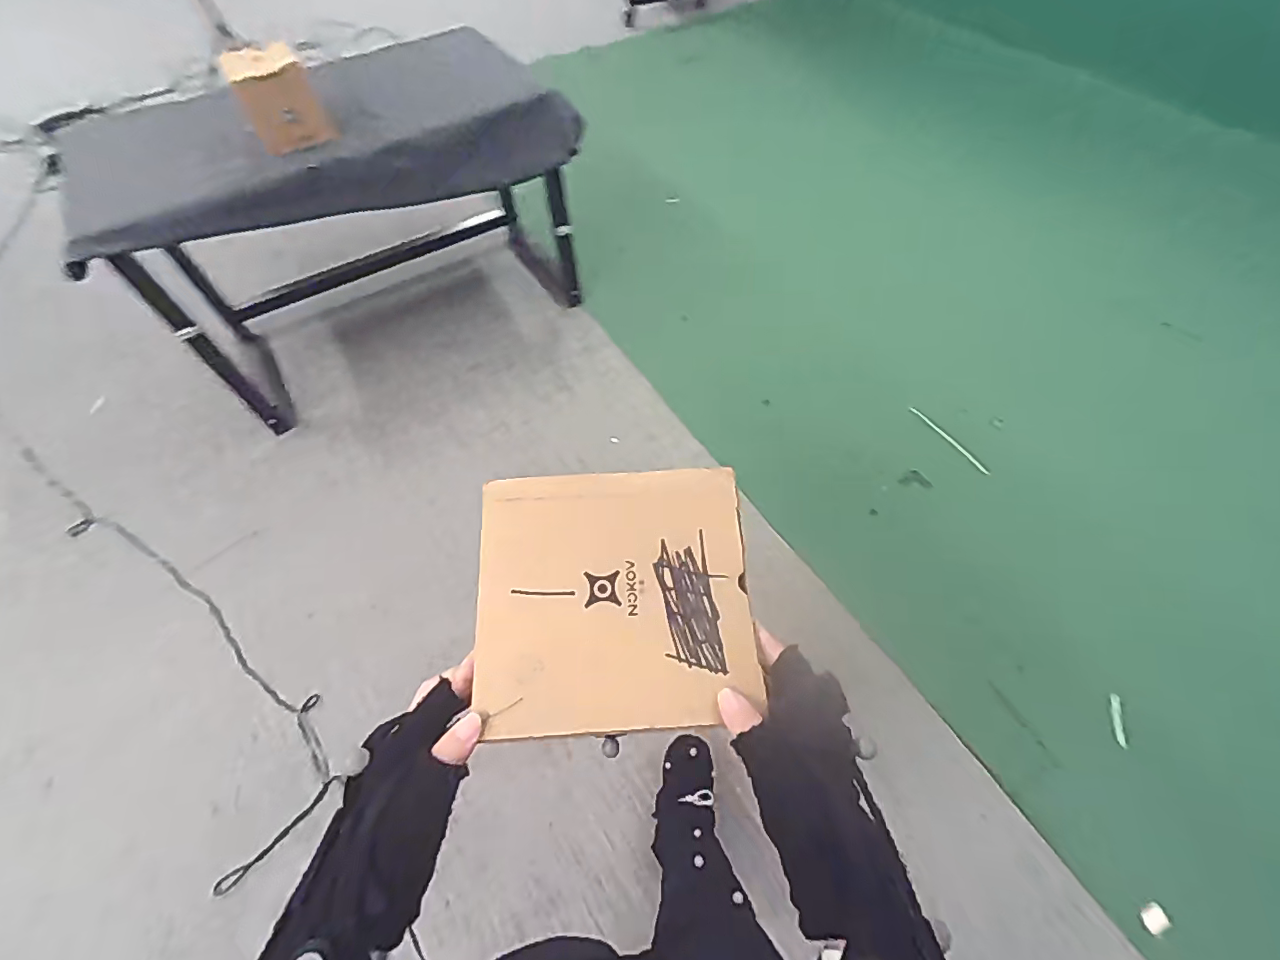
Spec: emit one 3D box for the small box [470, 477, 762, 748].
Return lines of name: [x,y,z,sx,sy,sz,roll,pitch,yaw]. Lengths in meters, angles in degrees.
small box: [-0.020,0.107,0.422,0.179,0.176,0.168,-4,66,-3]

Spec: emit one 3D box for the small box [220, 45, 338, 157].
small box: [-0.886,-0.932,1.340,0.168,0.176,0.179,-30,61,-16]
